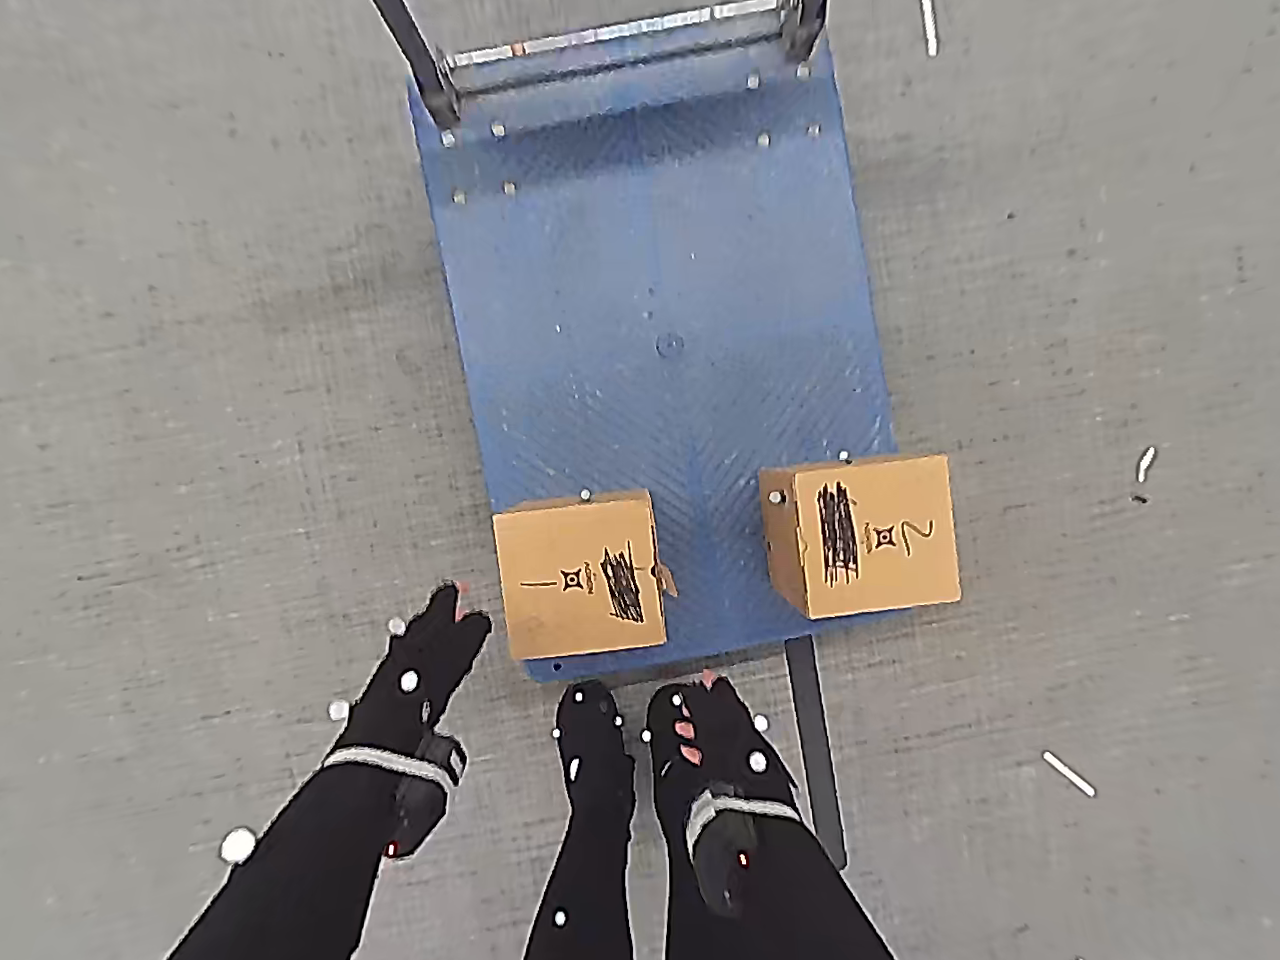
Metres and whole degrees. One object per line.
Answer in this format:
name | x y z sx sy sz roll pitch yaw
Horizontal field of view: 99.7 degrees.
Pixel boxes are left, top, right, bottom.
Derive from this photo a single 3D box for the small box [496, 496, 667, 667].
small box | -0.065 0.114 0.673 0.179 0.176 0.168 -6 92 1
